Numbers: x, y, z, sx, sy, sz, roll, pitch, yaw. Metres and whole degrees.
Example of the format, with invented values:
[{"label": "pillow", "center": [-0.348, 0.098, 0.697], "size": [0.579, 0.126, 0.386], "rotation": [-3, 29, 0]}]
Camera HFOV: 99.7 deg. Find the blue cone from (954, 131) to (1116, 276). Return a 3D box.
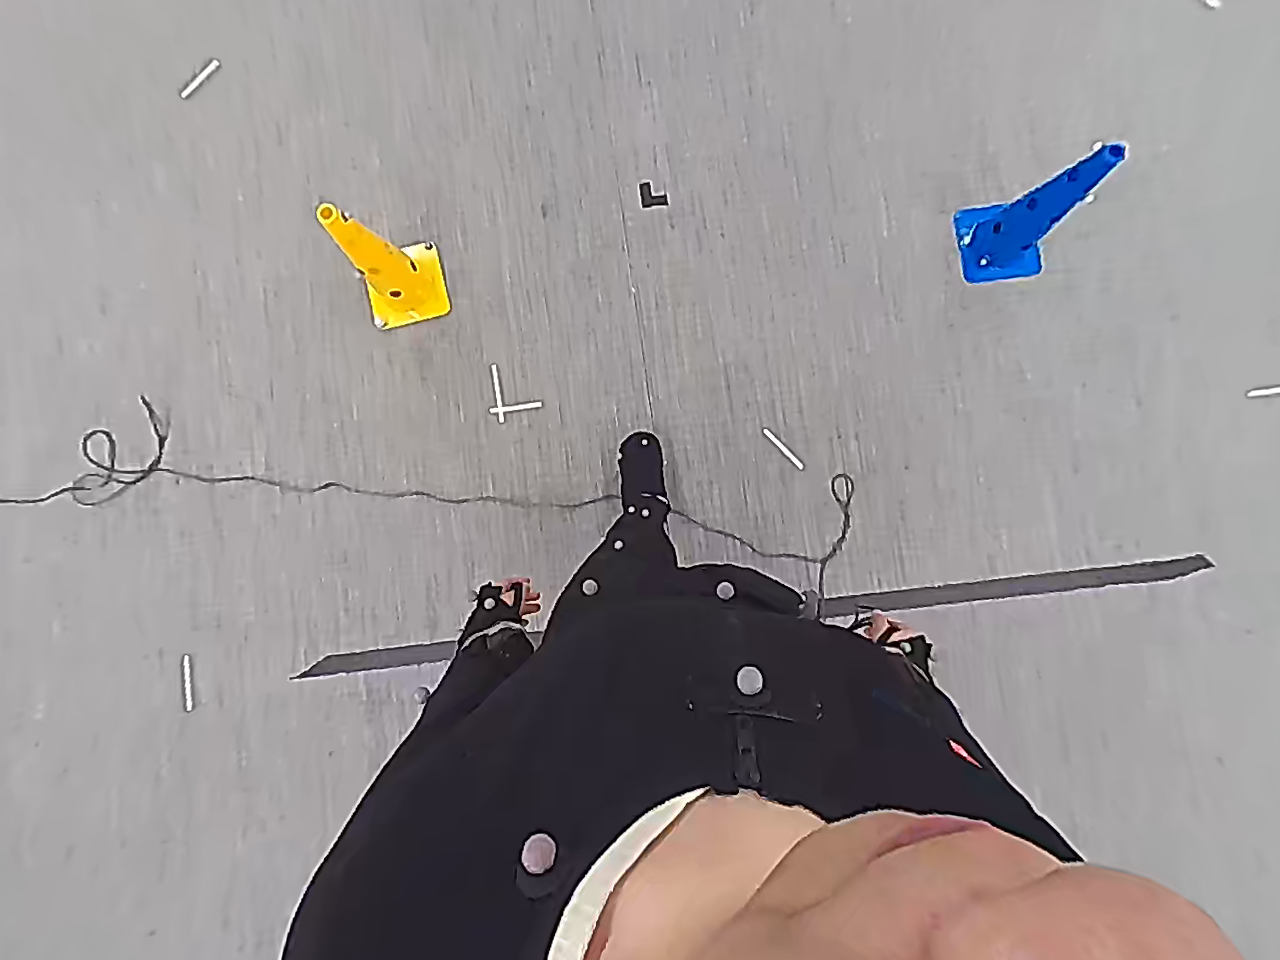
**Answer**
[{"label": "blue cone", "center": [0.916, -0.638, 1.234], "size": [0.193, 0.380, 0.192], "rotation": [-7, 85, 0]}]
